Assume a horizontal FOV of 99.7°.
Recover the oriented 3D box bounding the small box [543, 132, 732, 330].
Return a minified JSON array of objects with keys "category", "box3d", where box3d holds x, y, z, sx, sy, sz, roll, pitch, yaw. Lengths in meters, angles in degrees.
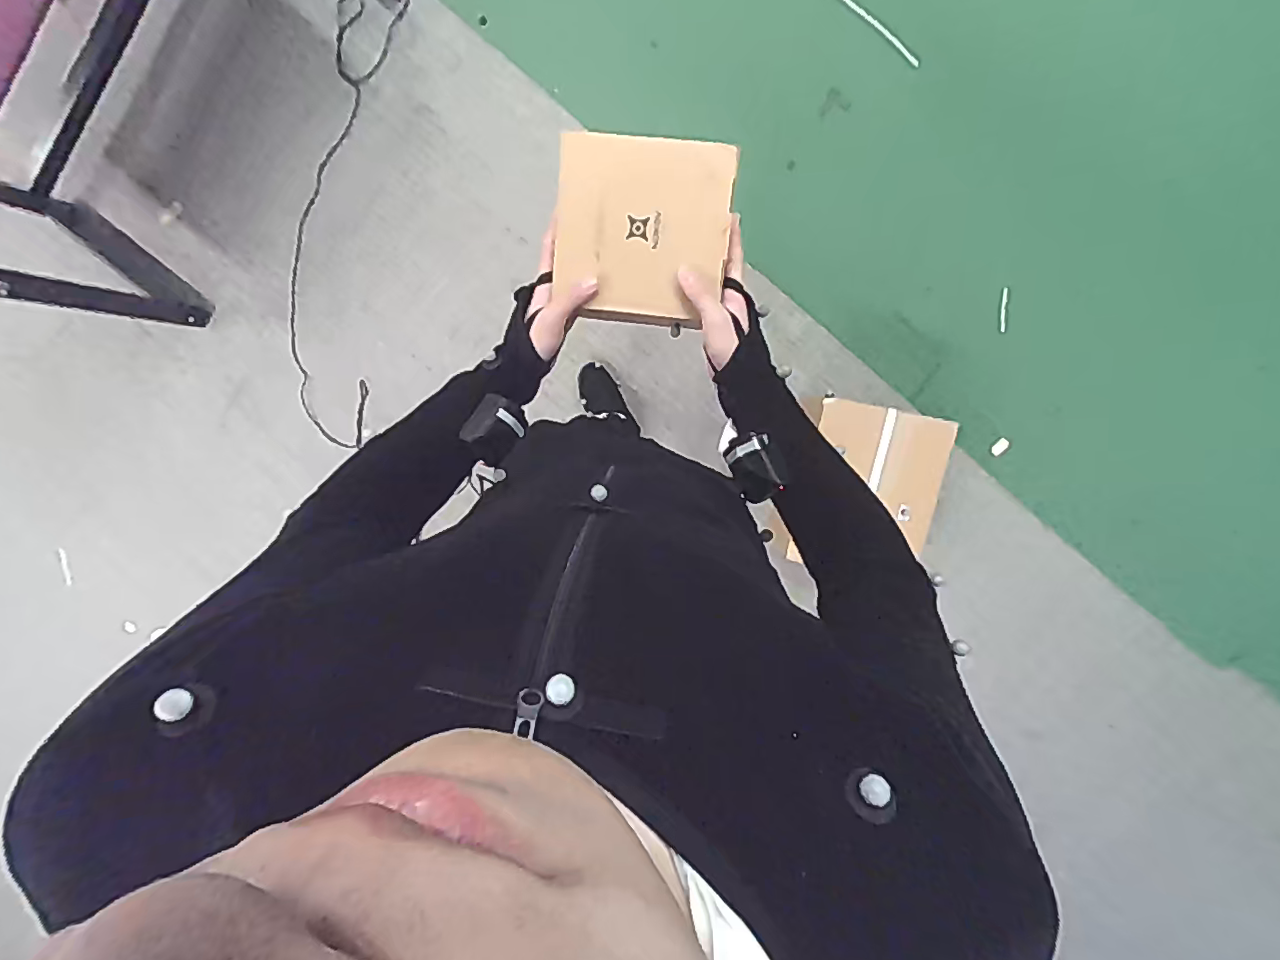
[{"category":"small box","box3d":[0.000,-0.263,0.610,0.179,0.176,0.168,6,103,3]}]
